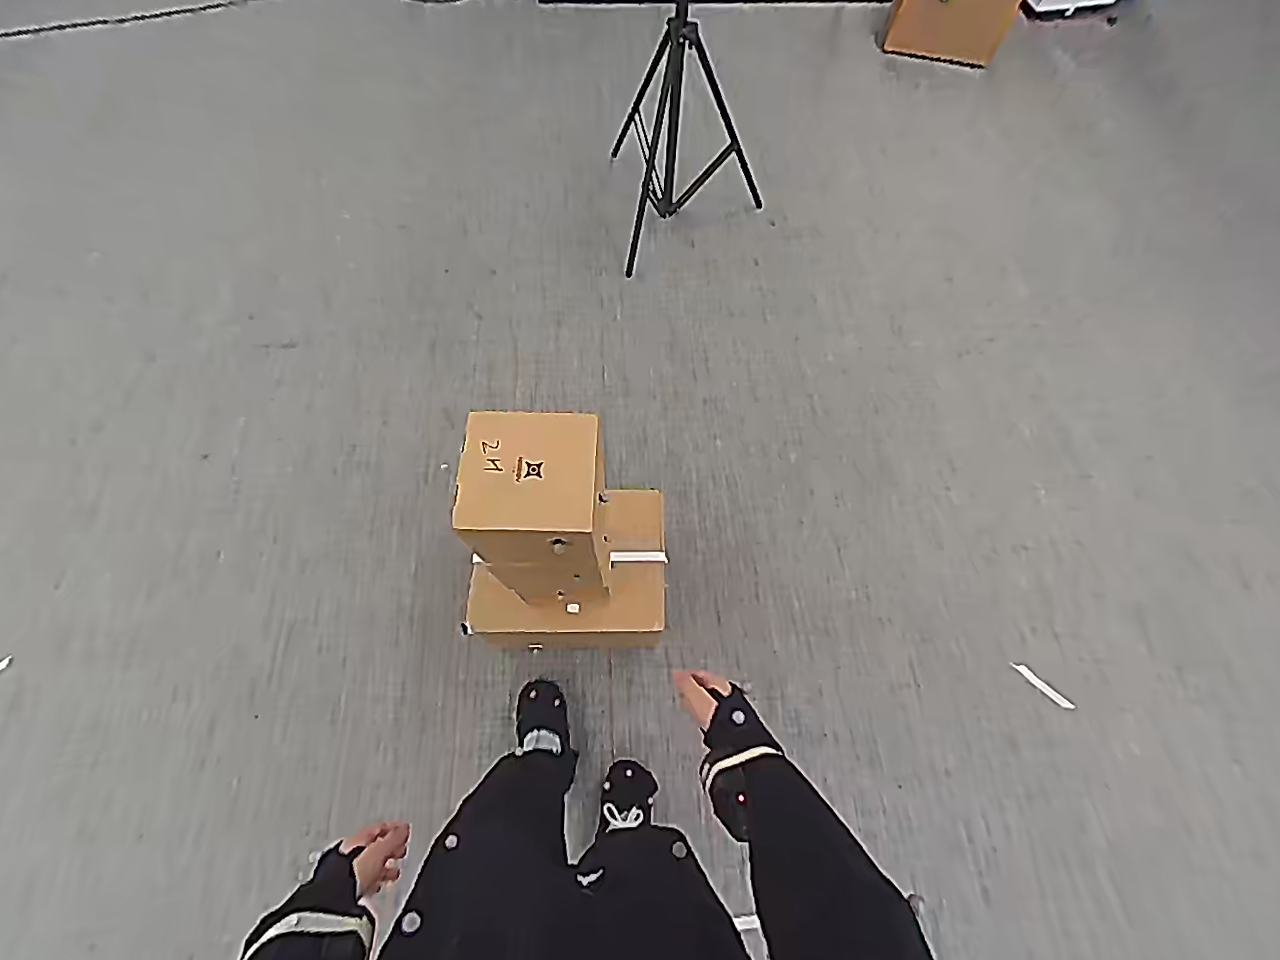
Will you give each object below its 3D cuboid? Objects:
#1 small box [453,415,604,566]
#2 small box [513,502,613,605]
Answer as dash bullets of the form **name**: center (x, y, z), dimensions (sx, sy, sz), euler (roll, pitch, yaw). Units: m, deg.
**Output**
- **small box**: center (-0.143, 0.021, 0.766), dimensions (0.179, 0.176, 0.168), euler (1, 67, 0)
- **small box**: center (-0.145, 0.151, 1.069), dimensions (0.179, 0.176, 0.168), euler (-2, 68, -3)
